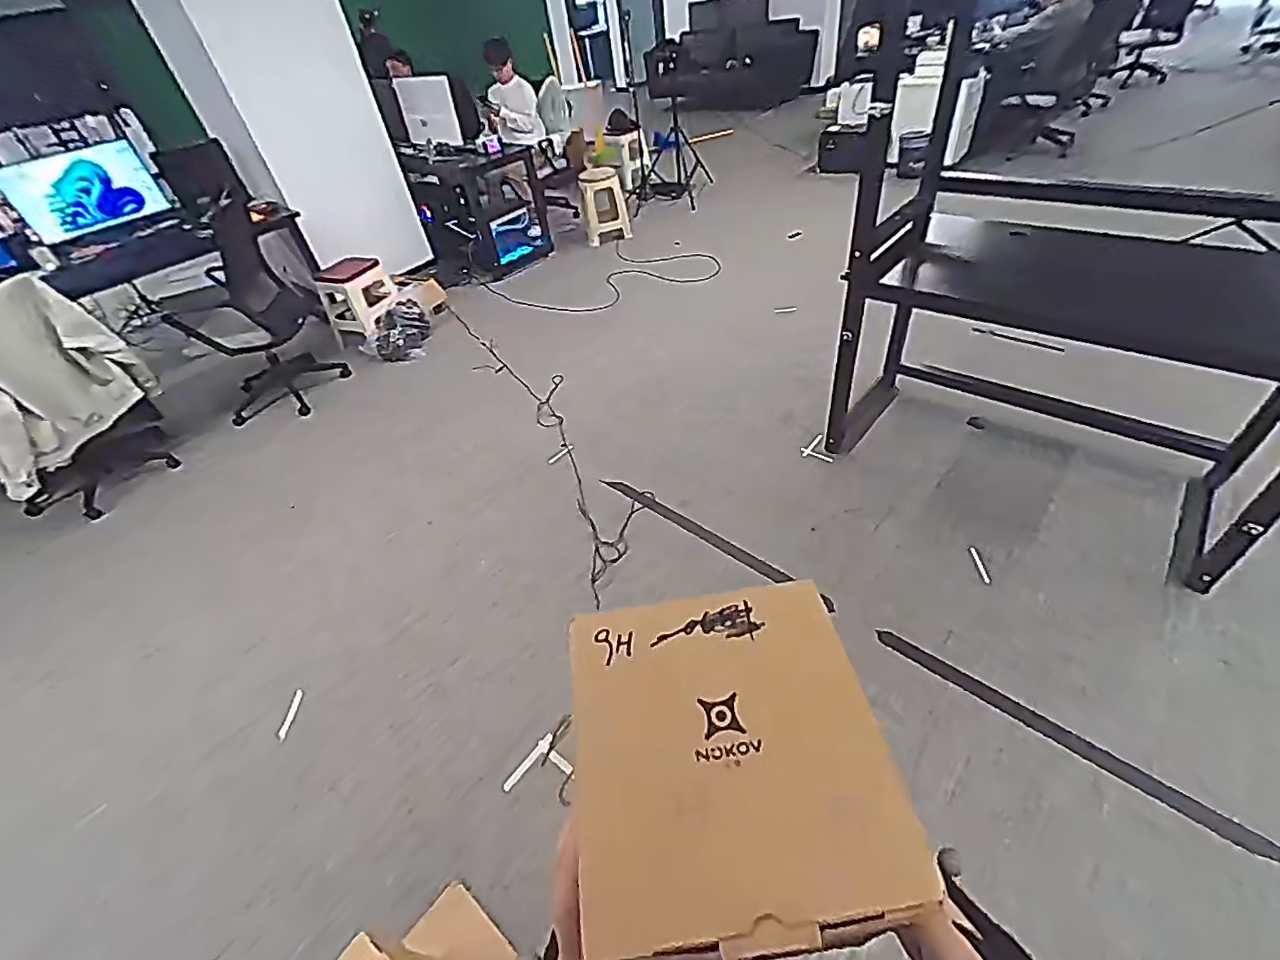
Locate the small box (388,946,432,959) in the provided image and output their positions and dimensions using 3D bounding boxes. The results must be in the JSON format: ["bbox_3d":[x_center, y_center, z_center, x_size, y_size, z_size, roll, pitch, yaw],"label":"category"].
[{"bbox_3d":[-0.450,1.051,1.033,0.168,0.176,0.179,22,52,30],"label":"small box"}]

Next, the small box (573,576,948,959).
[{"bbox_3d":[0.053,0.189,0.347,0.168,0.176,0.179,-8,46,-2],"label":"small box"}]
